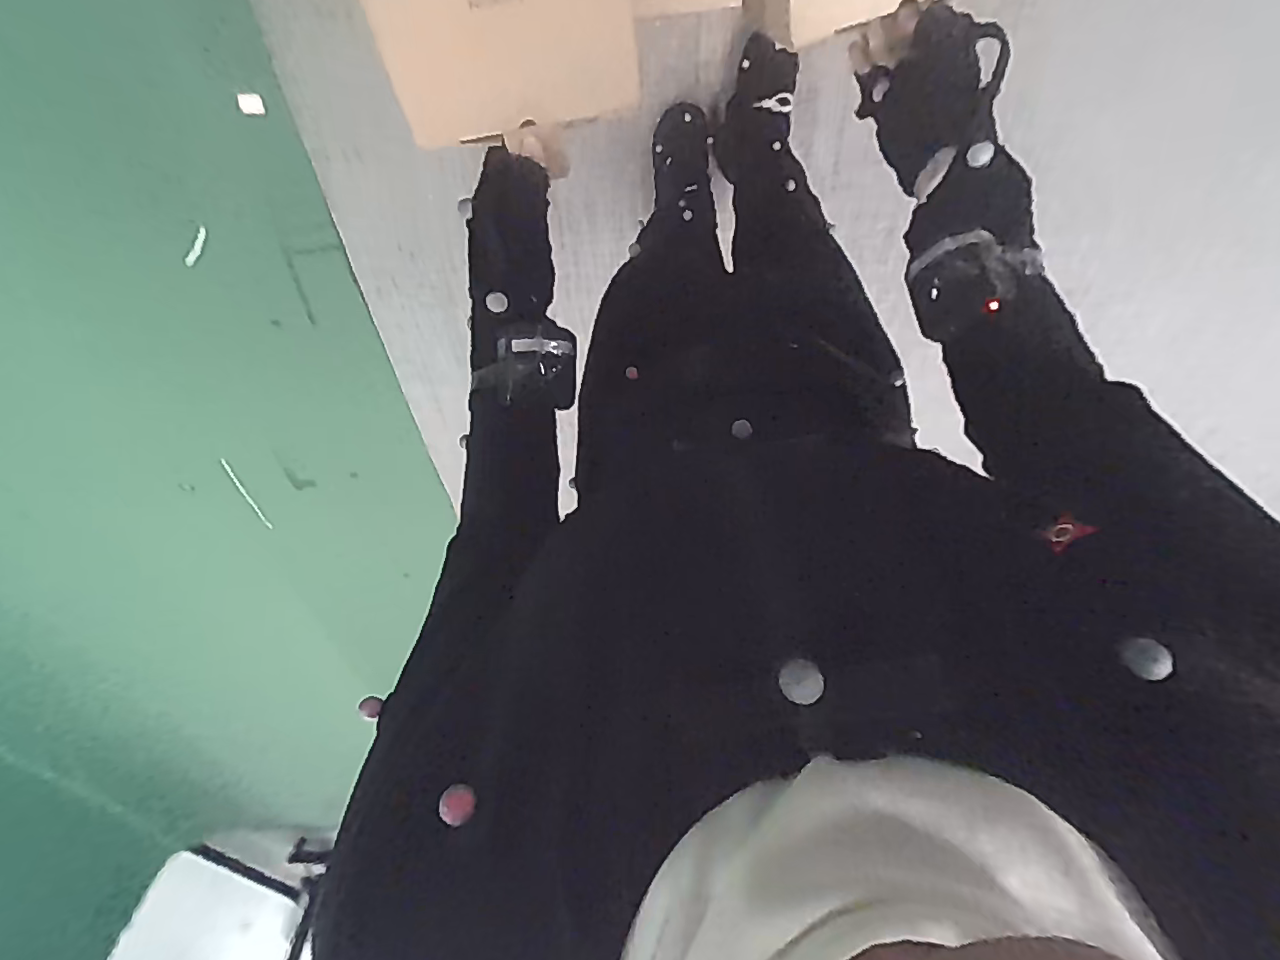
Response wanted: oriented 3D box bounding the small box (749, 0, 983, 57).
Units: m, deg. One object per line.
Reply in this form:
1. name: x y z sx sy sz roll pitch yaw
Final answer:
1. small box: 0.165 -0.445 0.384 0.168 0.176 0.179 -14 136 7

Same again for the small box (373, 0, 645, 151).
1. small box: -0.091 -0.366 0.385 0.168 0.176 0.179 -9 135 2
